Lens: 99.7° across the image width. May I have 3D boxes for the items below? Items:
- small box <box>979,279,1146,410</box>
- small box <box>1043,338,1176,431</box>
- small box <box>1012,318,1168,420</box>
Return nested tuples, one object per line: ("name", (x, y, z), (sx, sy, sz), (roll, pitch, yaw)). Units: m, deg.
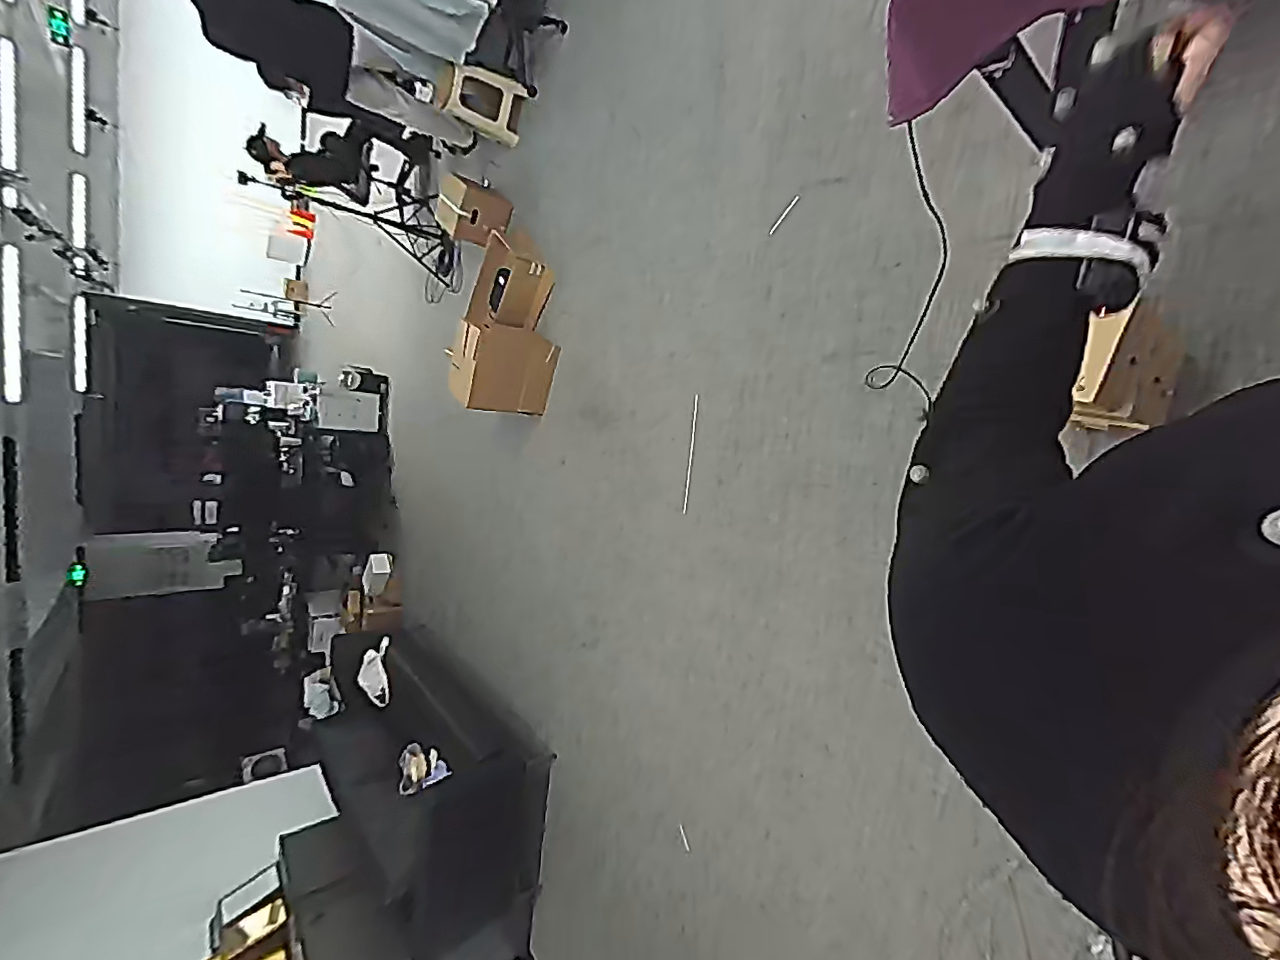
("small box", (0.728, -0.229, 0.929), (0.168, 0.176, 0.179), (29, 111, 46))
("small box", (0.986, -0.203, 1.134), (0.168, 0.176, 0.179), (19, 103, 48))
("small box", (0.857, -0.214, 1.032), (0.179, 0.176, 0.168), (24, 108, 47))
